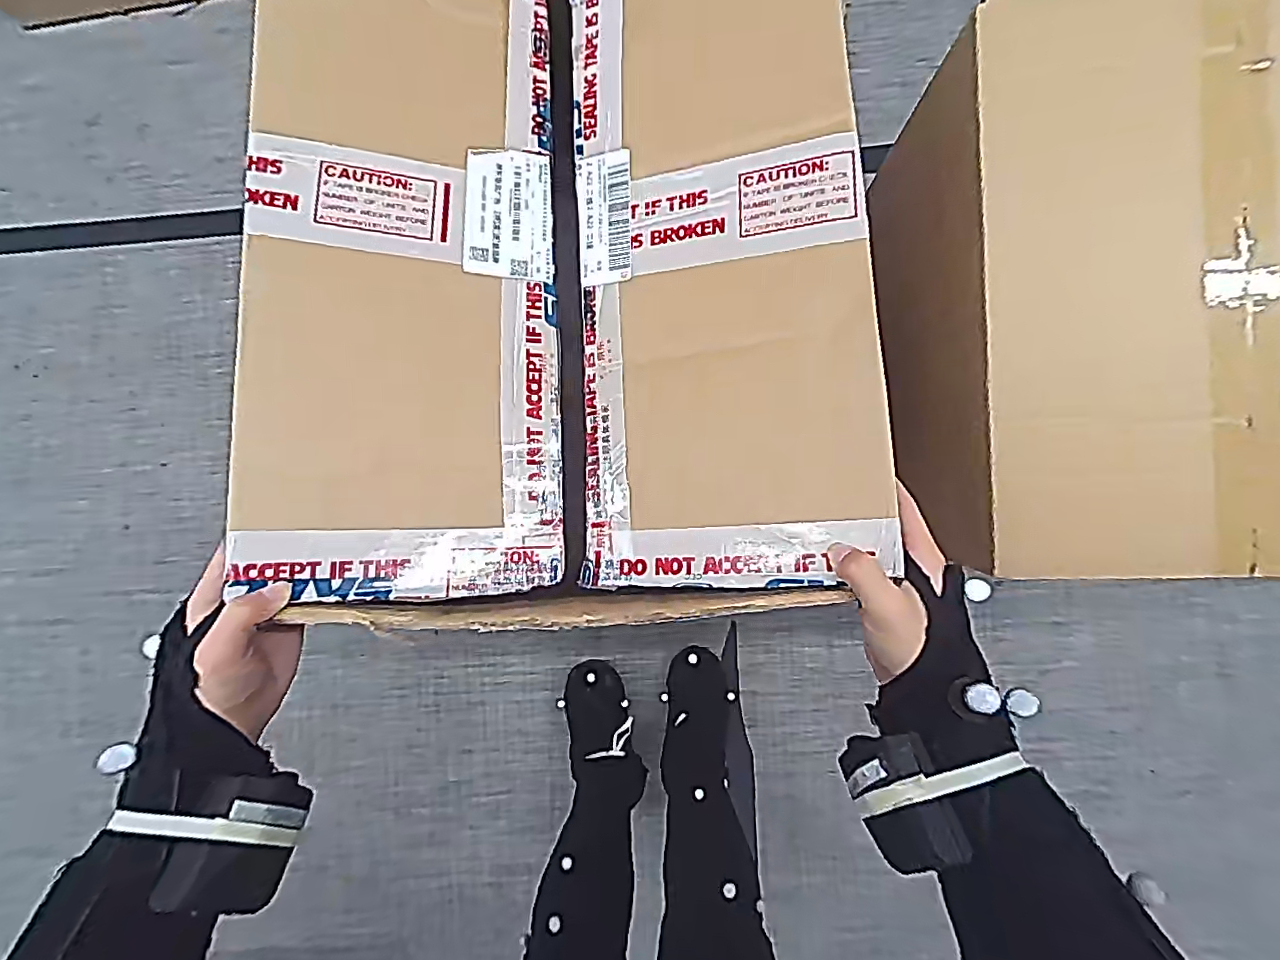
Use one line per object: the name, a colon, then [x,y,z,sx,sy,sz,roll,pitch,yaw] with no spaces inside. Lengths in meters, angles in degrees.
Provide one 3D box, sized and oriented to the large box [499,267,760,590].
large box: [-0.013,-0.067,0.848,0.320,0.320,0.408,-4,89,2]
